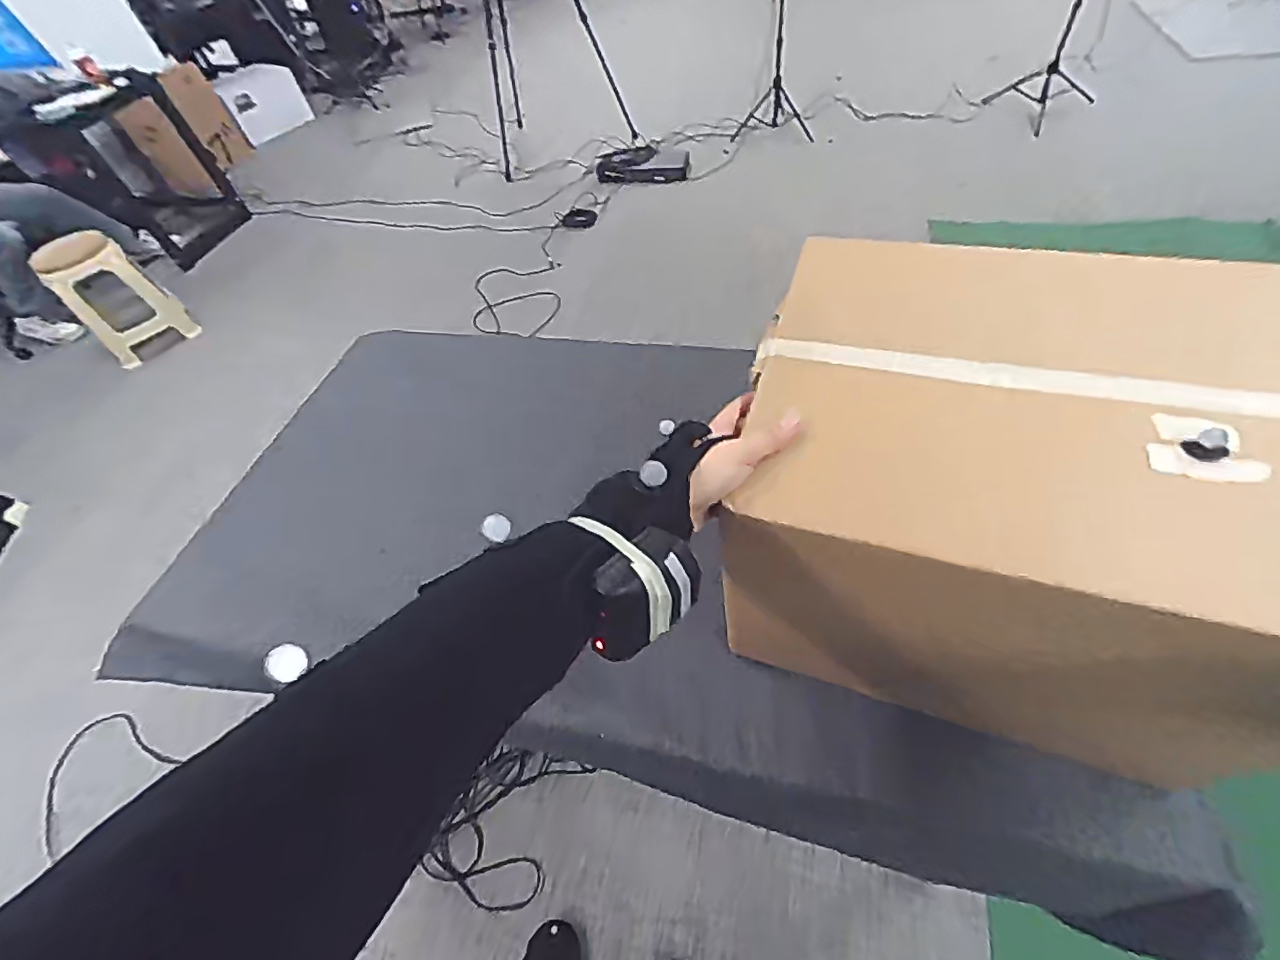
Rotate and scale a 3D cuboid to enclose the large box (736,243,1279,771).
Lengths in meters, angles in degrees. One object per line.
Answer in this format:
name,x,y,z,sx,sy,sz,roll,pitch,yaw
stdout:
large box,0.318,0.020,0.497,0.408,0.320,0.320,13,60,18
